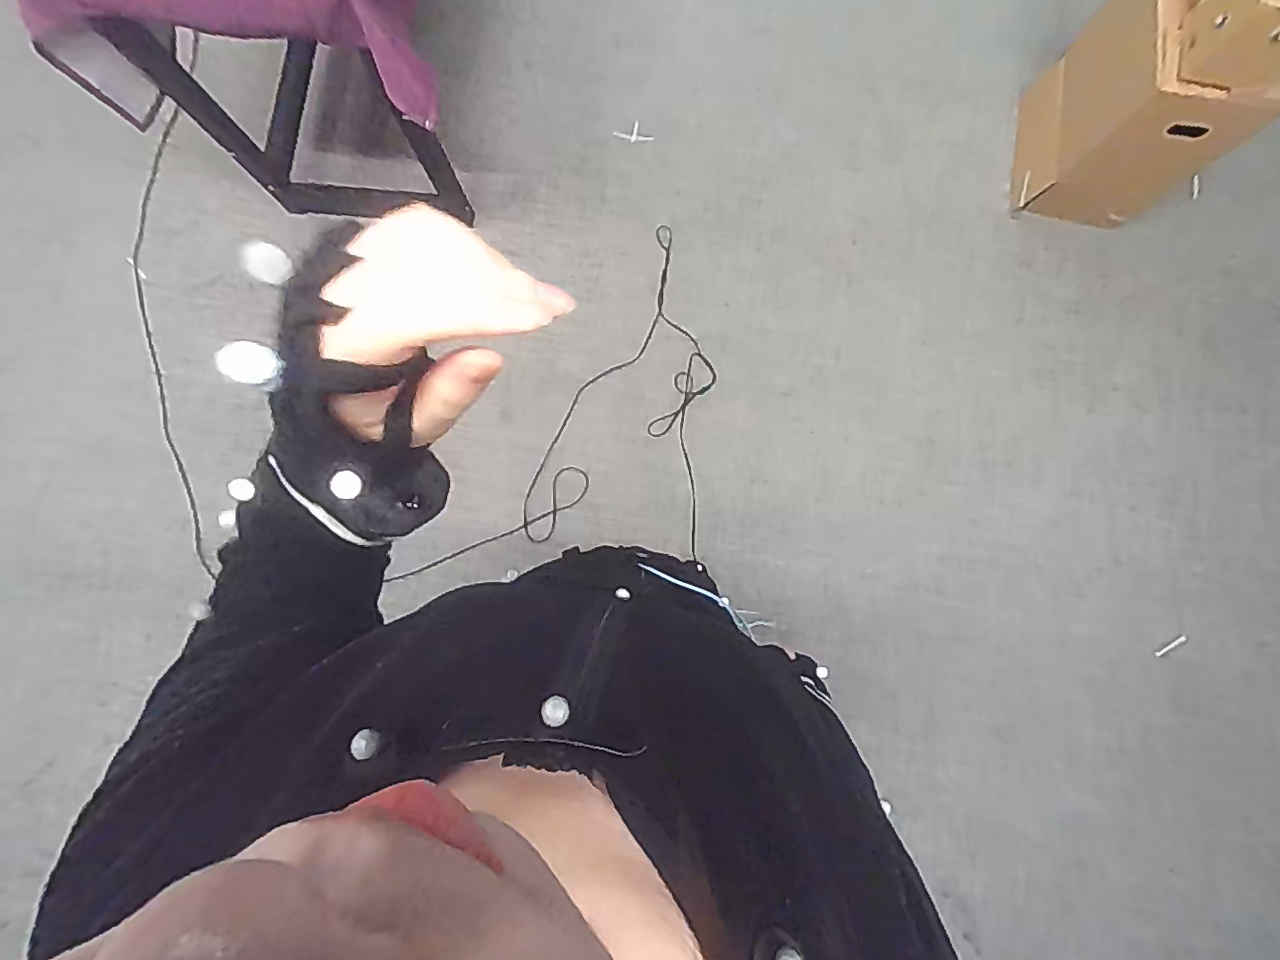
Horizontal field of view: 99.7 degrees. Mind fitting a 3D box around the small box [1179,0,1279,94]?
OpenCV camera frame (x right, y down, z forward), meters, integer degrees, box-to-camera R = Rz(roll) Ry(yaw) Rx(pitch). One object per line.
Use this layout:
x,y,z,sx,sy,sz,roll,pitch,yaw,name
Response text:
1.295,-0.957,1.134,0.179,0.176,0.168,13,81,1,small box
